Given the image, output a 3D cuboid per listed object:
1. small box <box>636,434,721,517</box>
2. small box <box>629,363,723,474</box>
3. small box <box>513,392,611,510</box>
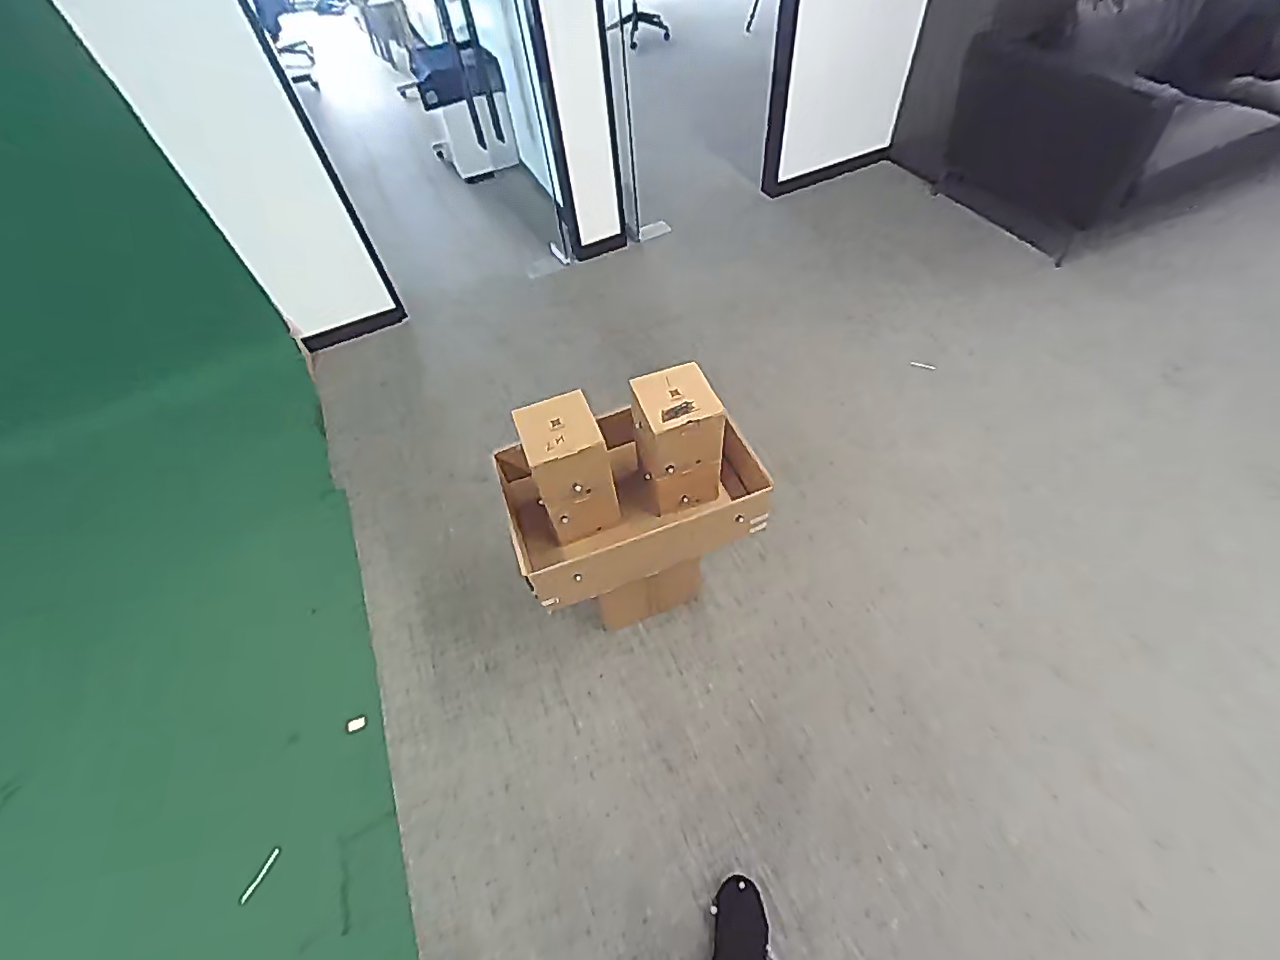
[{"bbox_3d":[0.095,-0.035,1.380,0.168,0.176,0.179,-18,55,-8],"label":"small box"},{"bbox_3d":[0.083,-0.133,1.249,0.168,0.176,0.179,-17,54,-8],"label":"small box"},{"bbox_3d":[-0.173,-0.064,1.219,0.168,0.176,0.179,-19,54,-8],"label":"small box"}]
